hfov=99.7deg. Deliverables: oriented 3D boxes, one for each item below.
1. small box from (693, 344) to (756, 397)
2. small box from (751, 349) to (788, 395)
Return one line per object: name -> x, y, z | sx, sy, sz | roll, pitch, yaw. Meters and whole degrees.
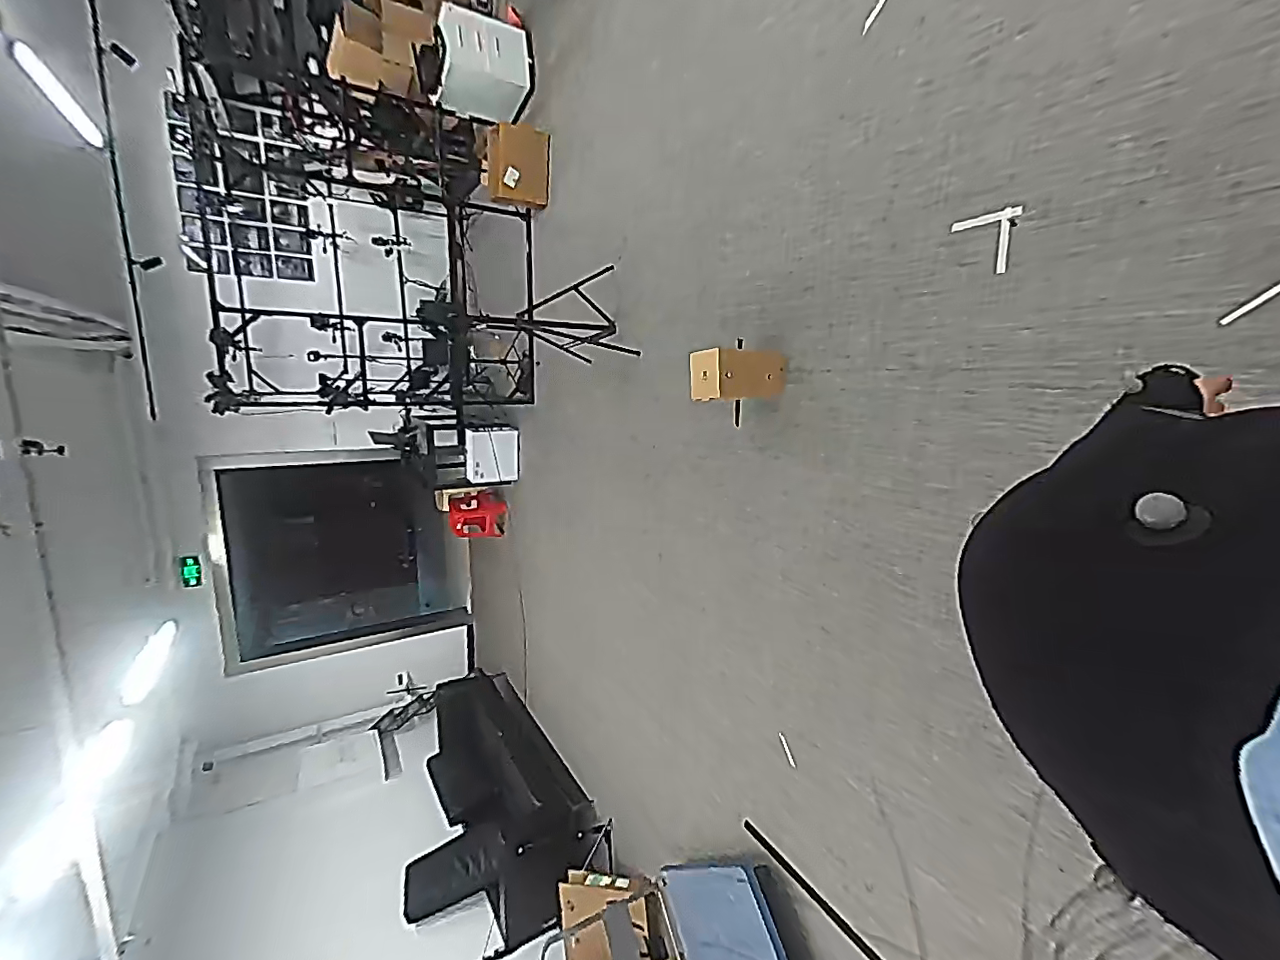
small box -> 0.312, -0.396, 1.983 | 0.168, 0.176, 0.179 | 8, 102, 59
small box -> 0.446, -0.417, 2.073 | 0.179, 0.176, 0.168 | 23, 114, 57
